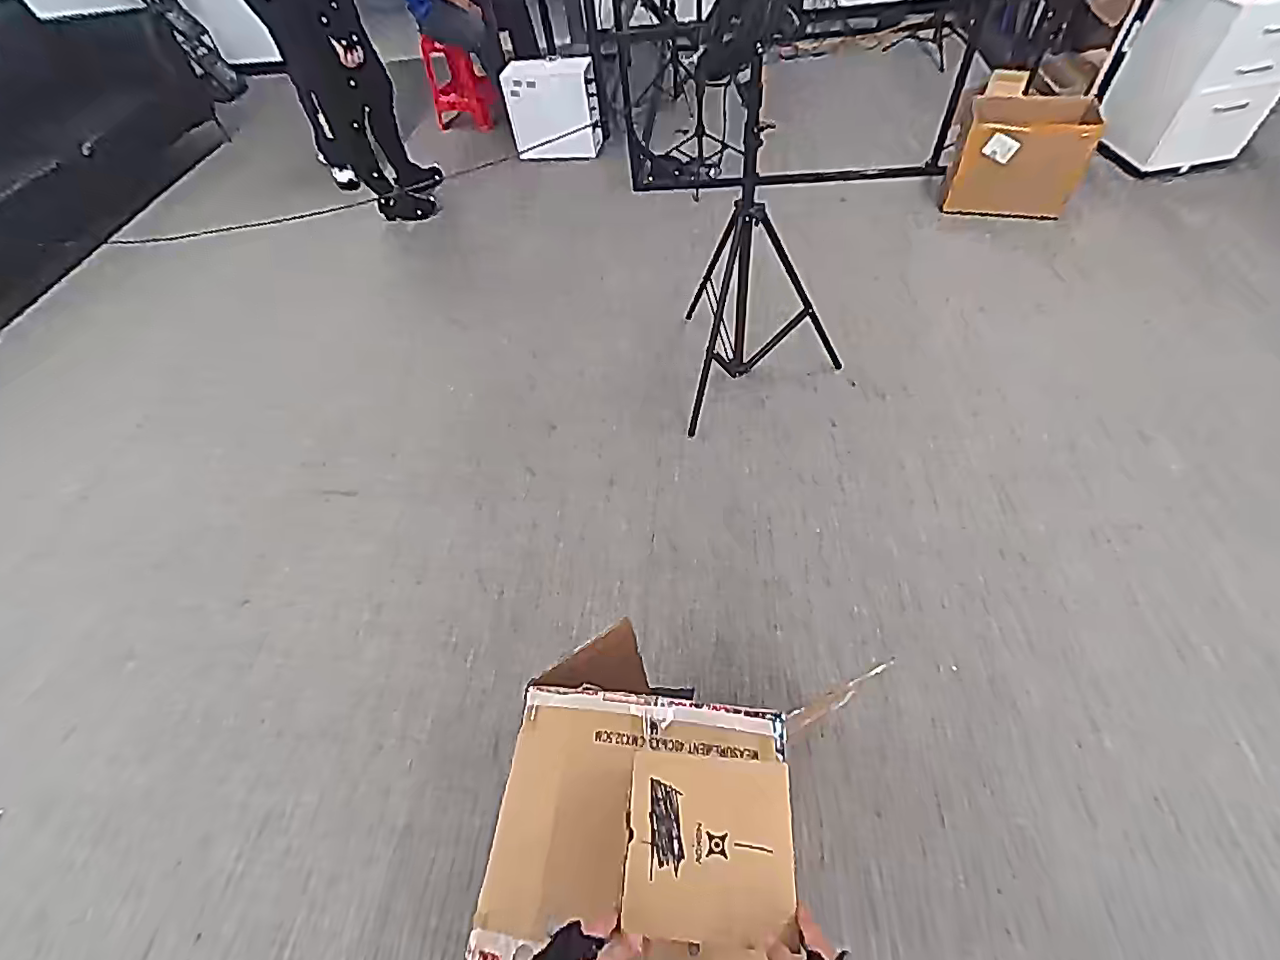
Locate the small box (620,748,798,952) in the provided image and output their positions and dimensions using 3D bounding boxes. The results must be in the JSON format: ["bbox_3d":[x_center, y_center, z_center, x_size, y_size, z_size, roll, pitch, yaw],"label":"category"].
[{"bbox_3d":[0.077,0.424,0.631,0.179,0.176,0.168,2,55,5],"label":"small box"}]
